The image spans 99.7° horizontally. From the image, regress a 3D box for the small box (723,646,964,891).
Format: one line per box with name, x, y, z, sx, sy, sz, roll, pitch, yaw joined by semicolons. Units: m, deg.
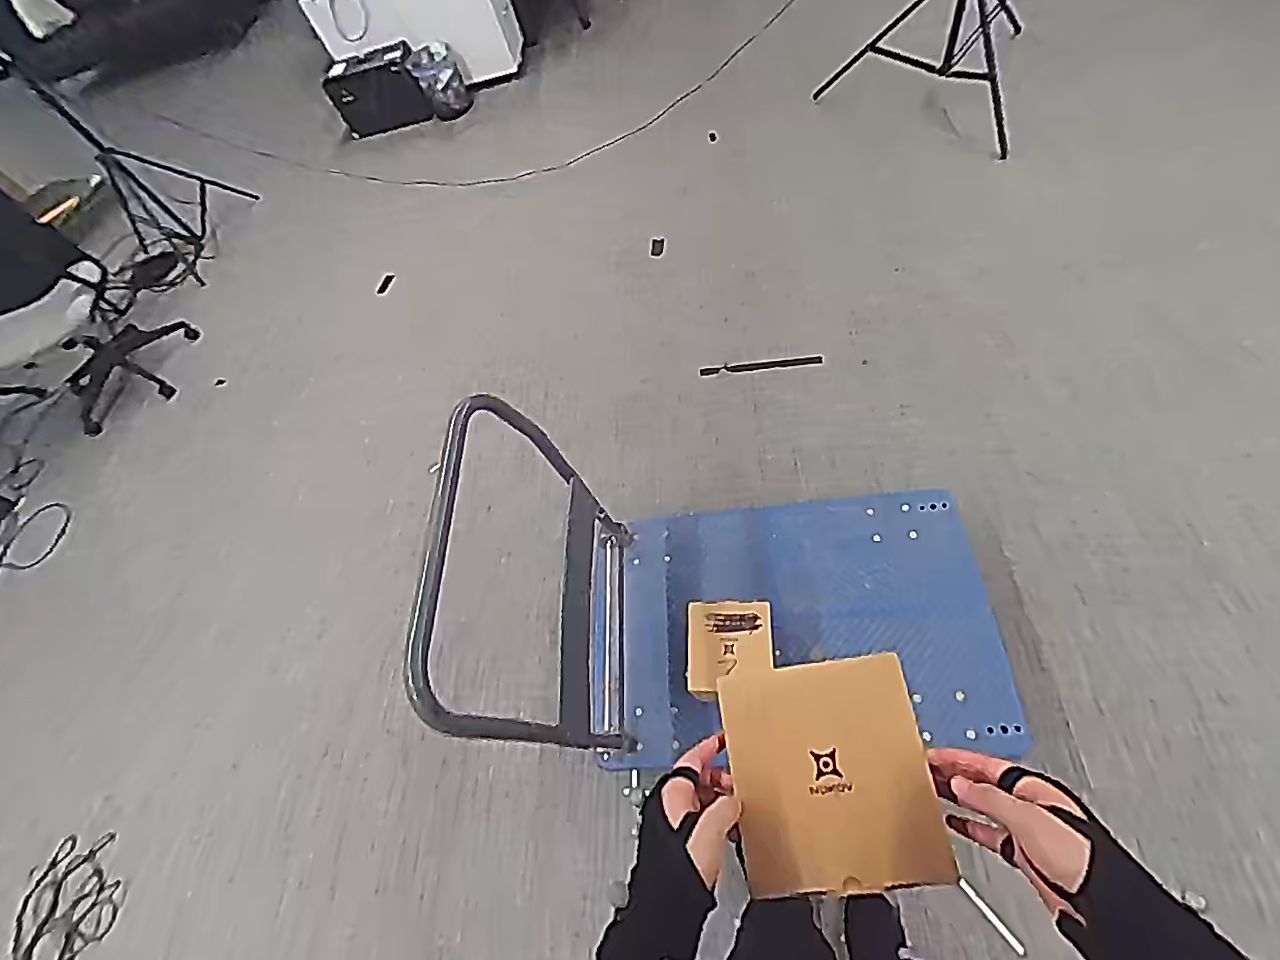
small box;0.179;0.269;0.535;0.168;0.176;0.179;-11;69;8
